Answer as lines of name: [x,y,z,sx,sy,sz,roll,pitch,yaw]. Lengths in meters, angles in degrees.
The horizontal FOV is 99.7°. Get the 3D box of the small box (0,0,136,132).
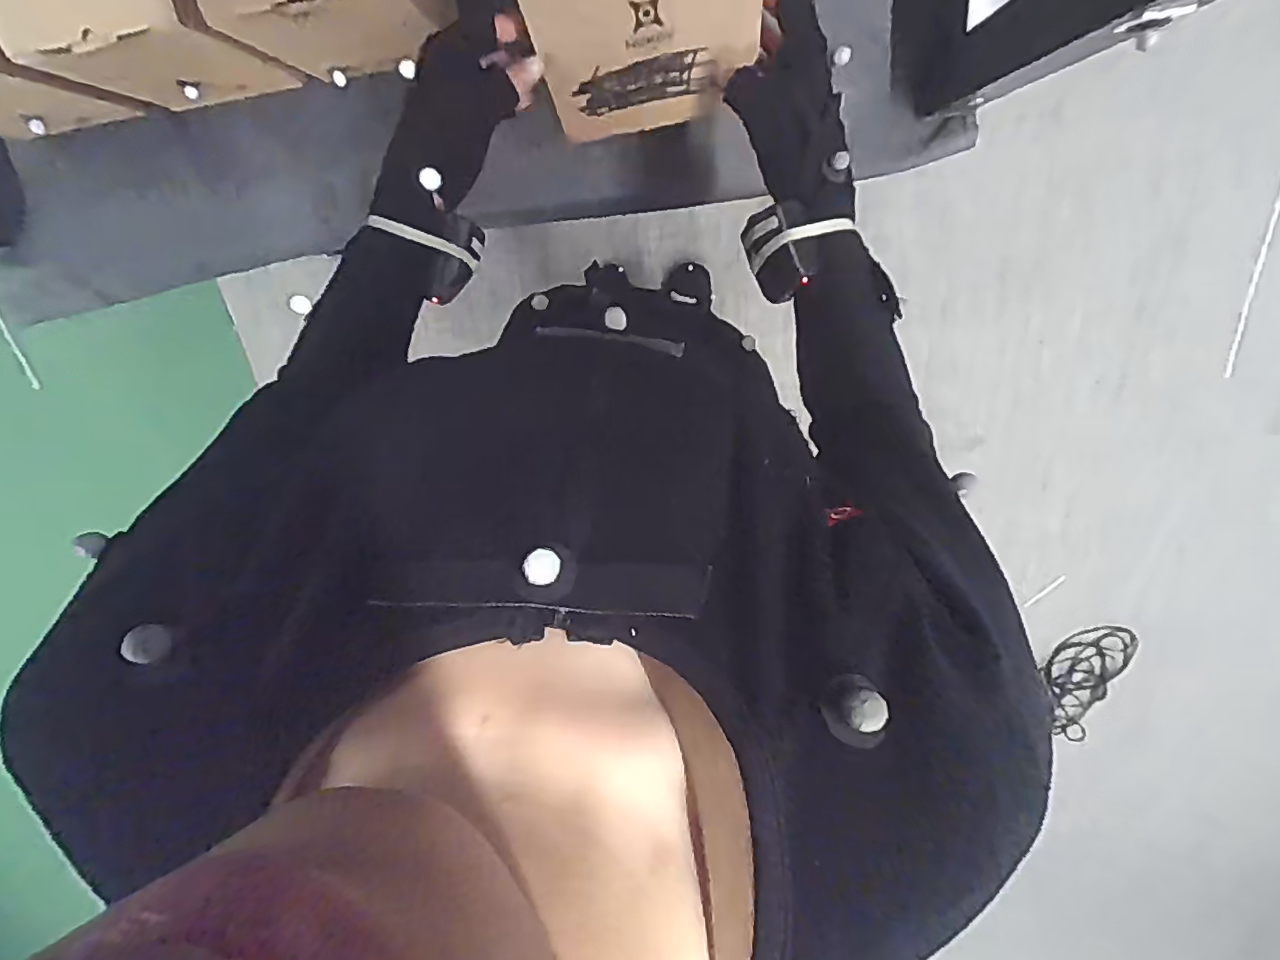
small box: [-0.651,-0.455,0.505,0.168,0.176,0.179,-6,113,7]
